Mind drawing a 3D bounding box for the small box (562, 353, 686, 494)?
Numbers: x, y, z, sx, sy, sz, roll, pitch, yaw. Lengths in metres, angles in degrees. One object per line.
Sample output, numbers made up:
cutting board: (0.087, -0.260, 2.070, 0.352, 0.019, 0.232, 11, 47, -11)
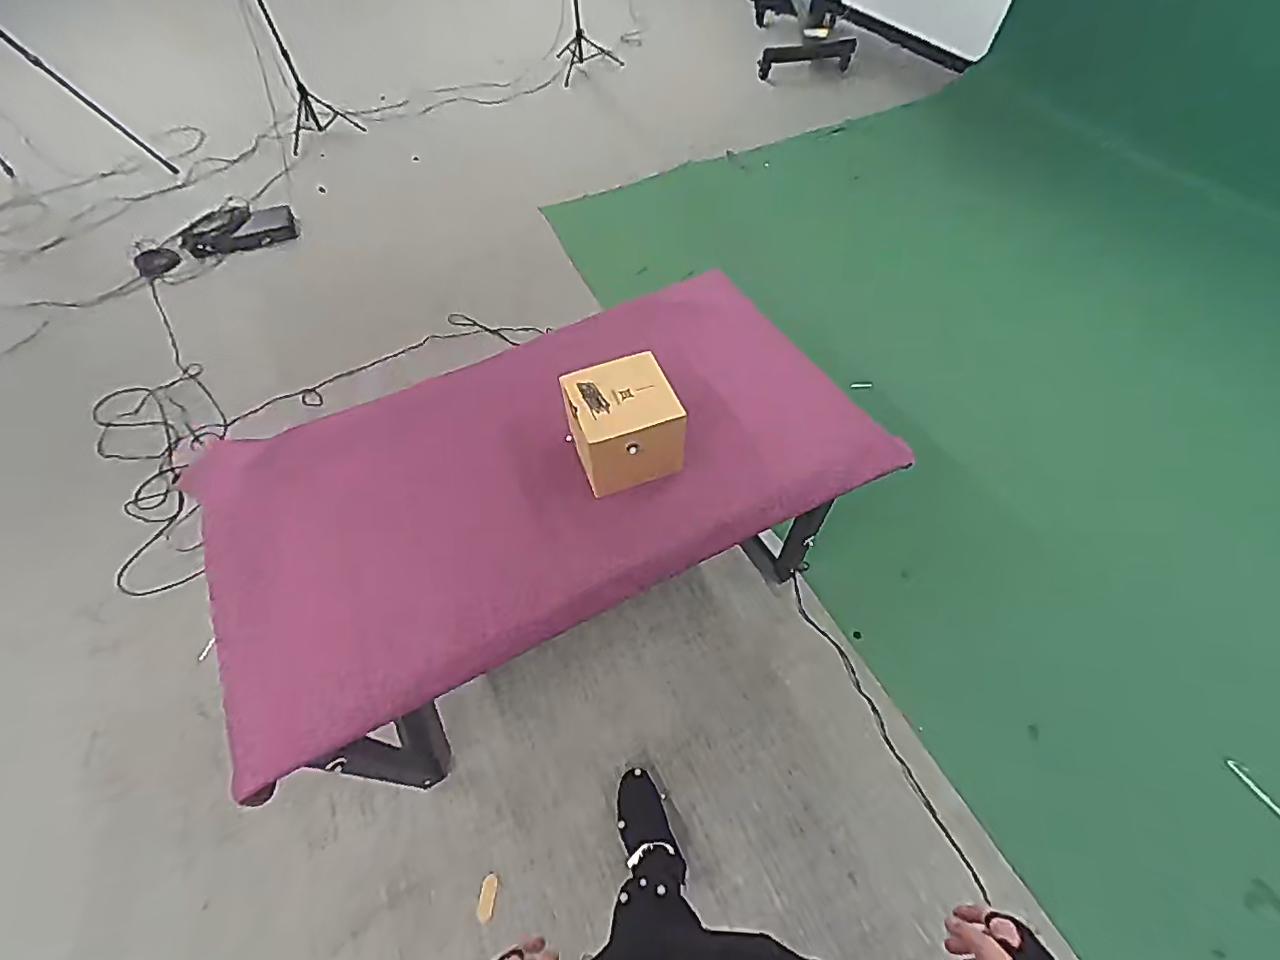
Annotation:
small box: (-0.027, -0.097, 0.989, 0.179, 0.176, 0.168, -18, 59, -10)
